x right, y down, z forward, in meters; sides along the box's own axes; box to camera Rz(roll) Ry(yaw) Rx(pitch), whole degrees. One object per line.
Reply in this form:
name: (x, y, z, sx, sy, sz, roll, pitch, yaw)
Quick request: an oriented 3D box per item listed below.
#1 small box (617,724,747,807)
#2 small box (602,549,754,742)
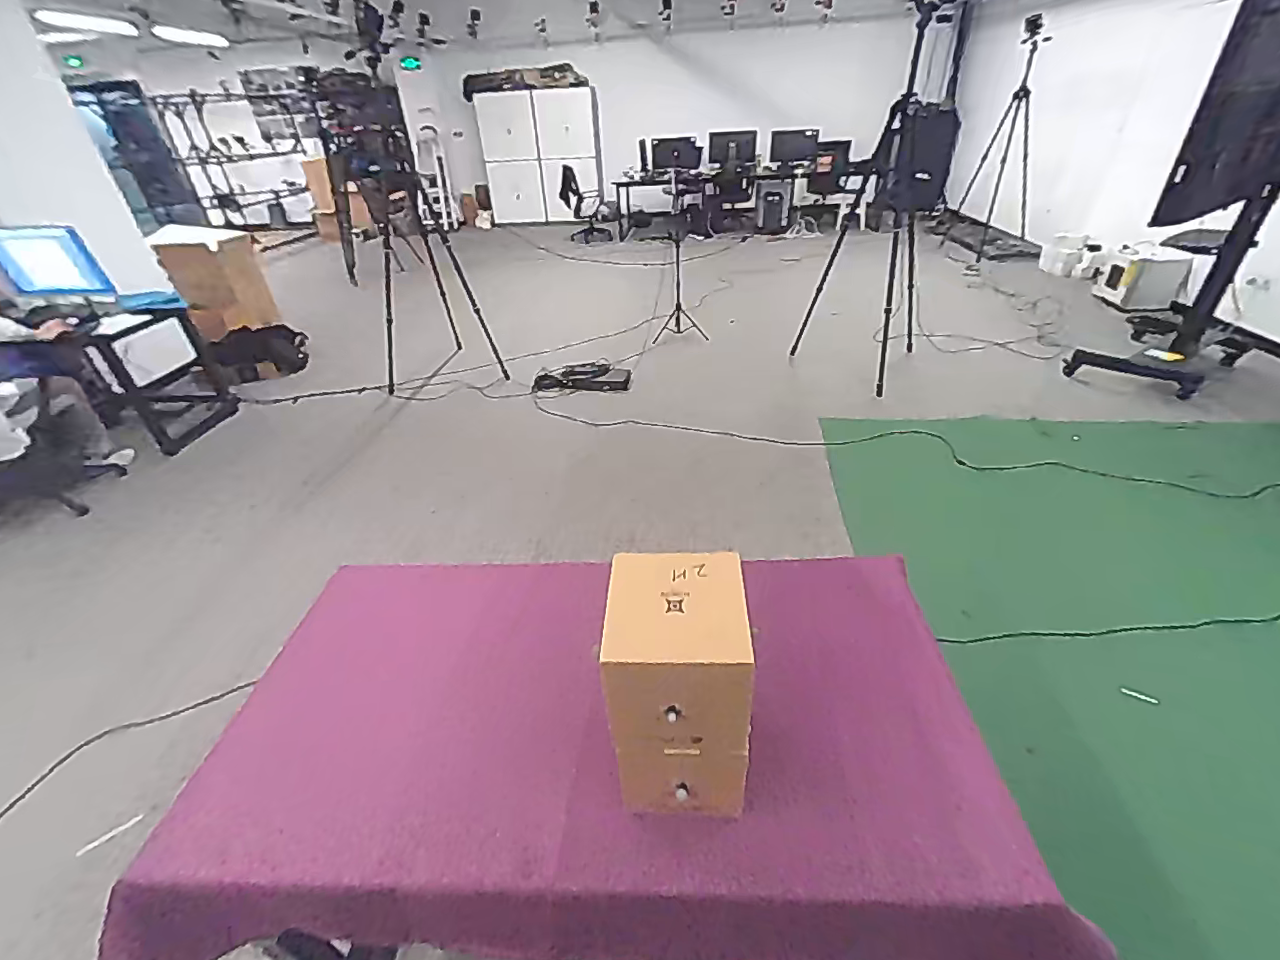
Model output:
small box: (0.063, 0.343, 0.778, 0.168, 0.176, 0.179, 0, 36, 5)
small box: (0.051, 0.207, 0.683, 0.168, 0.176, 0.179, -1, 35, 4)
